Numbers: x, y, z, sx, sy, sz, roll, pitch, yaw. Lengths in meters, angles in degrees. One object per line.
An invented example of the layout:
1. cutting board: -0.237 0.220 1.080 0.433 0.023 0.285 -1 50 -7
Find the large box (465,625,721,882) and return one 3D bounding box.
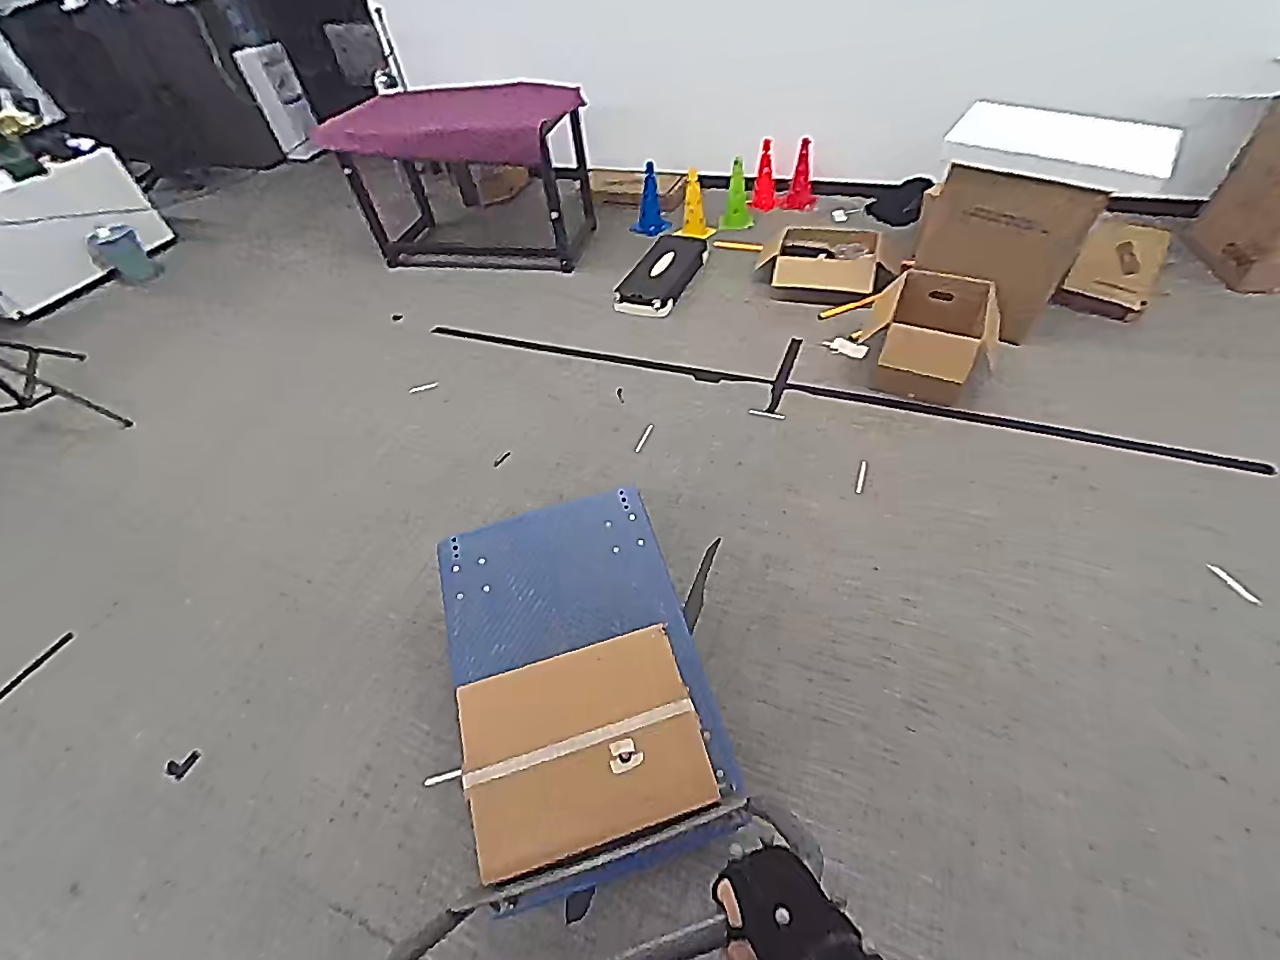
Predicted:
1. large box: -0.093 0.543 1.089 0.408 0.320 0.320 -16 60 -9
